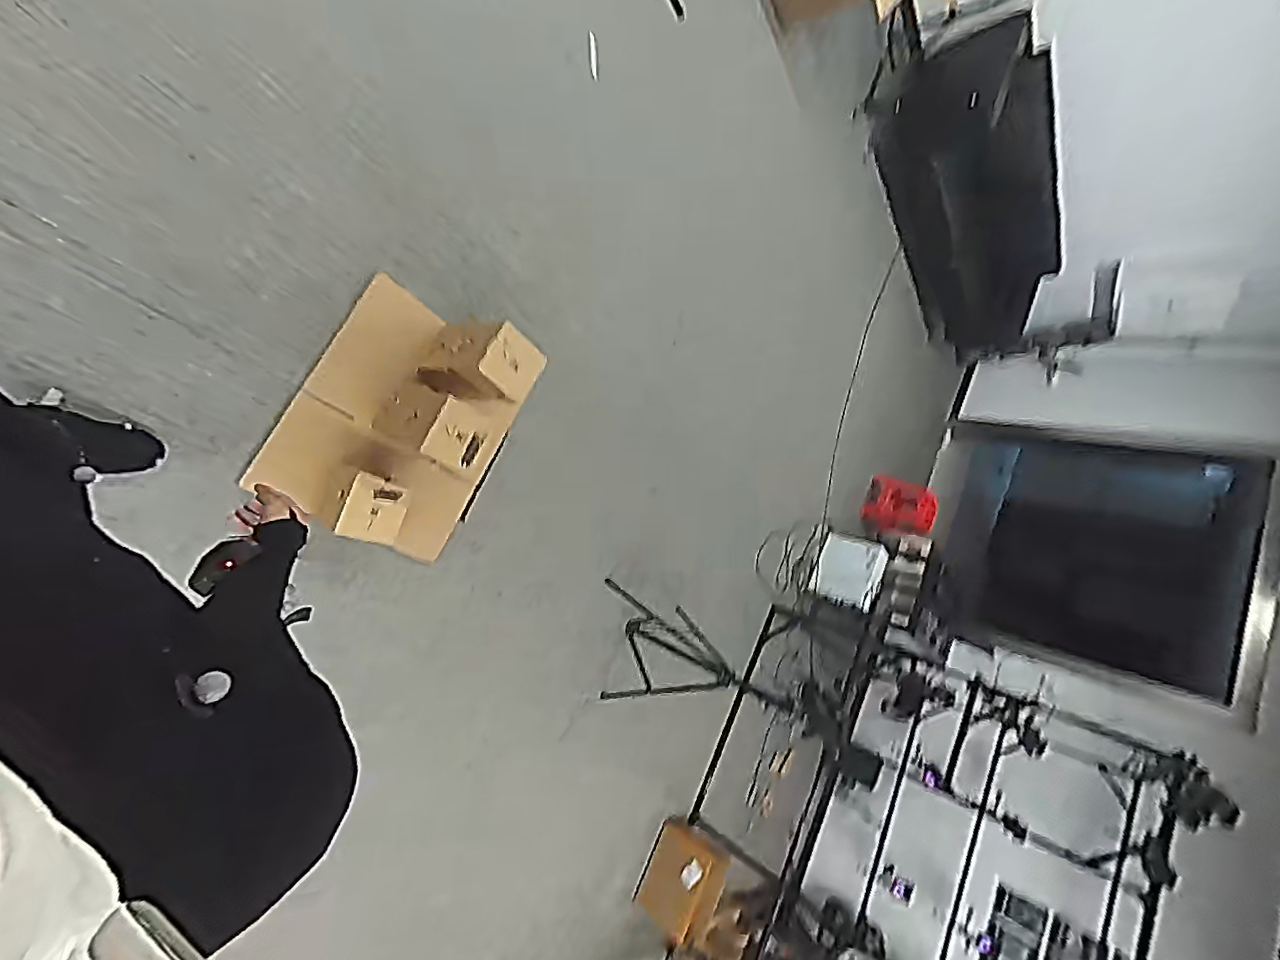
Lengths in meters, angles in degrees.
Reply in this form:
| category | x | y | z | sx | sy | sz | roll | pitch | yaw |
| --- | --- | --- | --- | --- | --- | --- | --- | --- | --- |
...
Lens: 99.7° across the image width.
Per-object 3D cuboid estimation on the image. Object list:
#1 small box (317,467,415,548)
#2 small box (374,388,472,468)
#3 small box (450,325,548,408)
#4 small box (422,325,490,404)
| category | x | y | z | sx | sy | sz | roll | pitch | yaw |
| --- | --- | --- | --- | --- | --- | --- | --- | --- | --- |
| small box | -0.773 | 0.074 | 1.518 | 0.168 | 0.176 | 0.179 | 26 | 81 | -47 |
| small box | -0.643 | -0.159 | 1.599 | 0.179 | 0.176 | 0.168 | 43 | 69 | -44 |
| small box | -0.407 | -0.329 | 1.560 | 0.179 | 0.176 | 0.168 | 43 | 68 | -43 |
| small box | -0.535 | -0.352 | 1.664 | 0.179 | 0.176 | 0.168 | 41 | 69 | -43 |
